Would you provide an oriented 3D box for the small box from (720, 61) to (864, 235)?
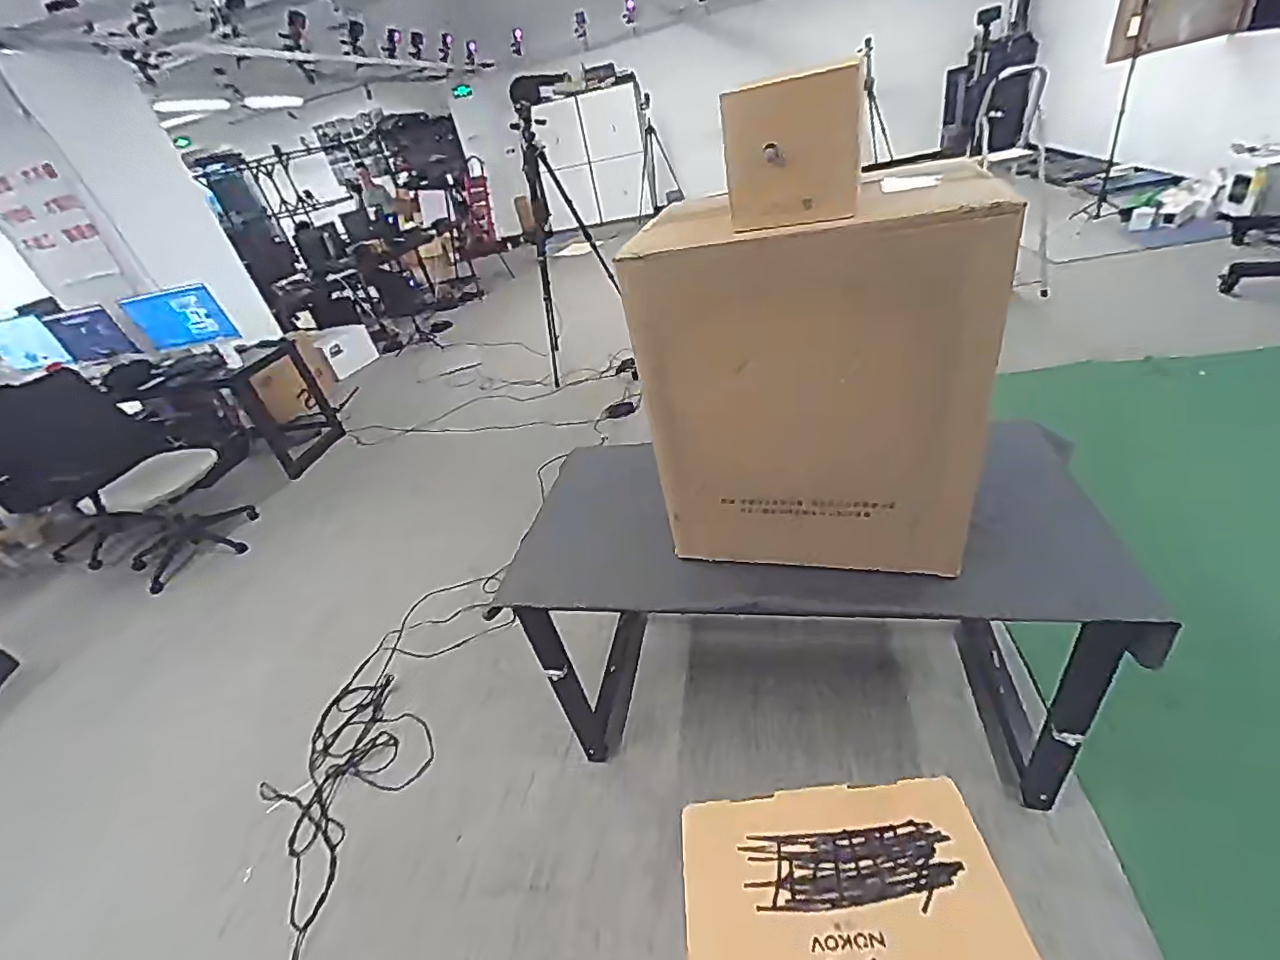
[{"bbox_3d":[0.218,-0.450,0.748,0.168,0.176,0.179,3,39,23],"label":"small box"}]
